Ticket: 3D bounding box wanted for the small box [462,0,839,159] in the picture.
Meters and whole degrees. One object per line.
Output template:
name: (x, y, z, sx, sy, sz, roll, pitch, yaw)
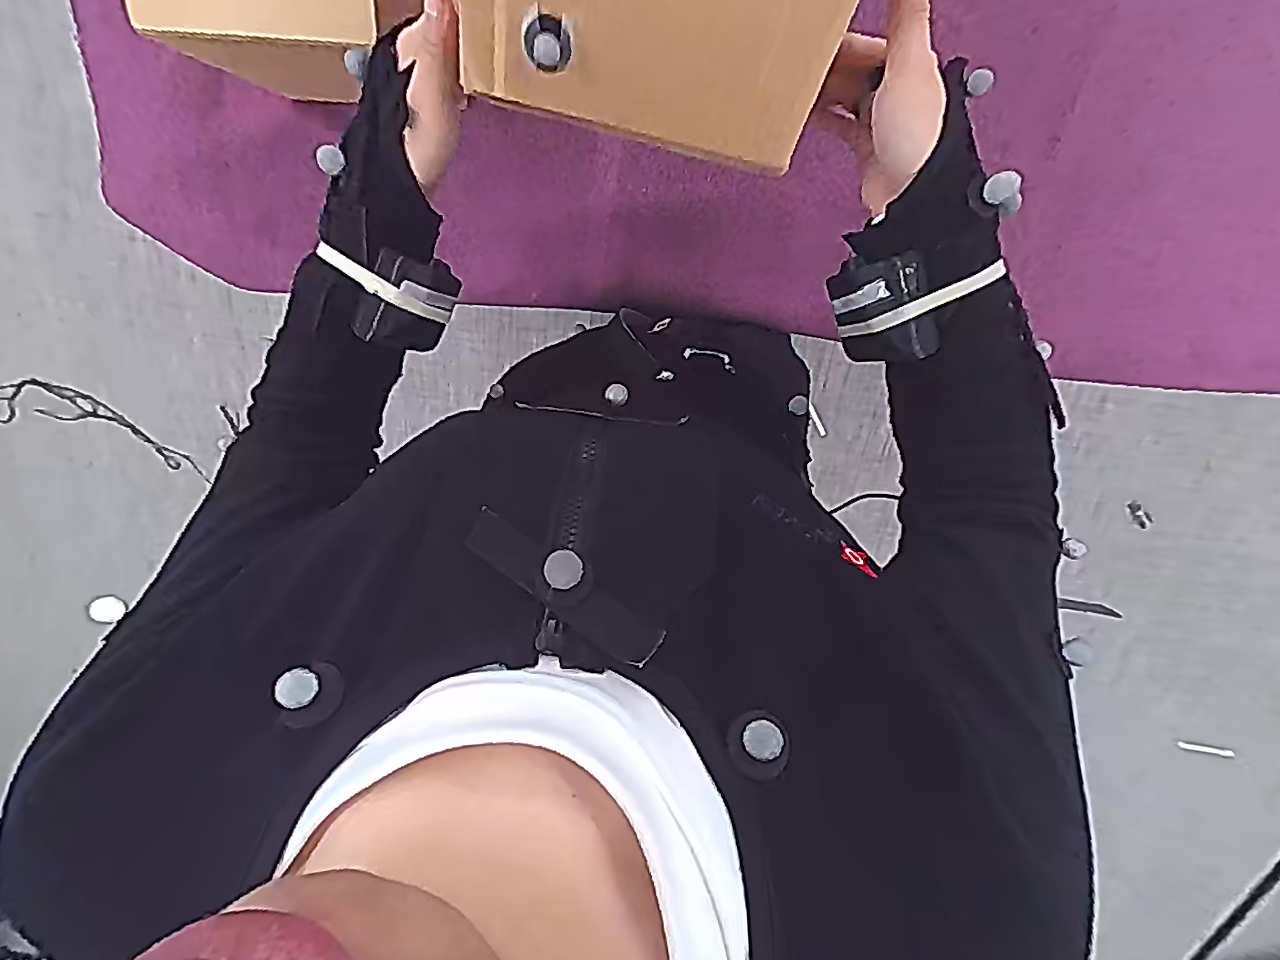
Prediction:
small box: (0.012, -0.293, 0.255, 0.179, 0.168, 0.176, 6, 143, -12)
